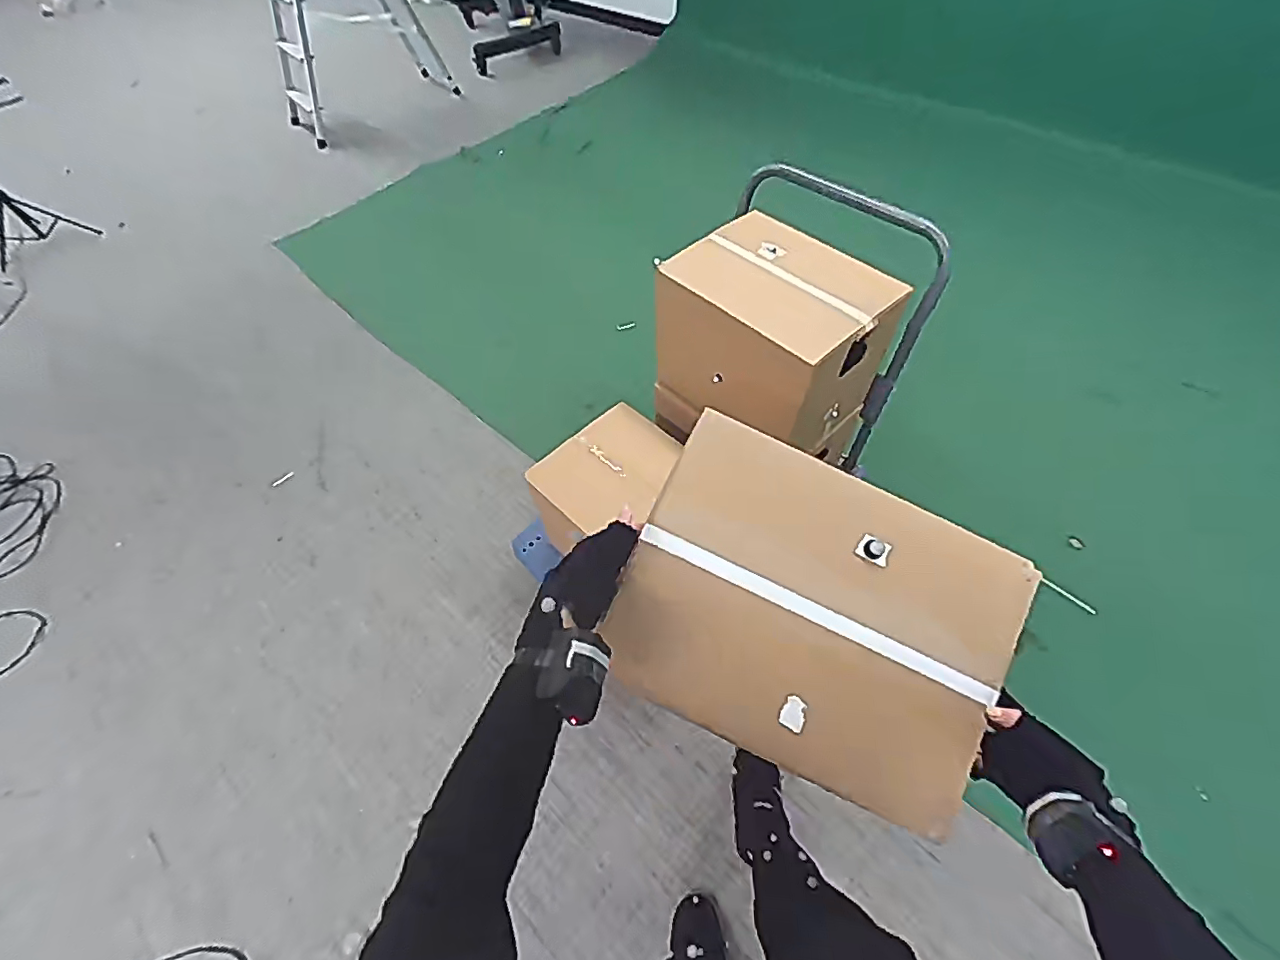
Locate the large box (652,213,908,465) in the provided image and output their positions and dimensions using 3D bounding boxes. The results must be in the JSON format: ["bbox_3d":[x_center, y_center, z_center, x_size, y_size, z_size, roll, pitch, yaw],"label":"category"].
[{"bbox_3d":[0.276,-0.309,1.179,0.320,0.320,0.408,-37,60,-22],"label":"large box"}]
